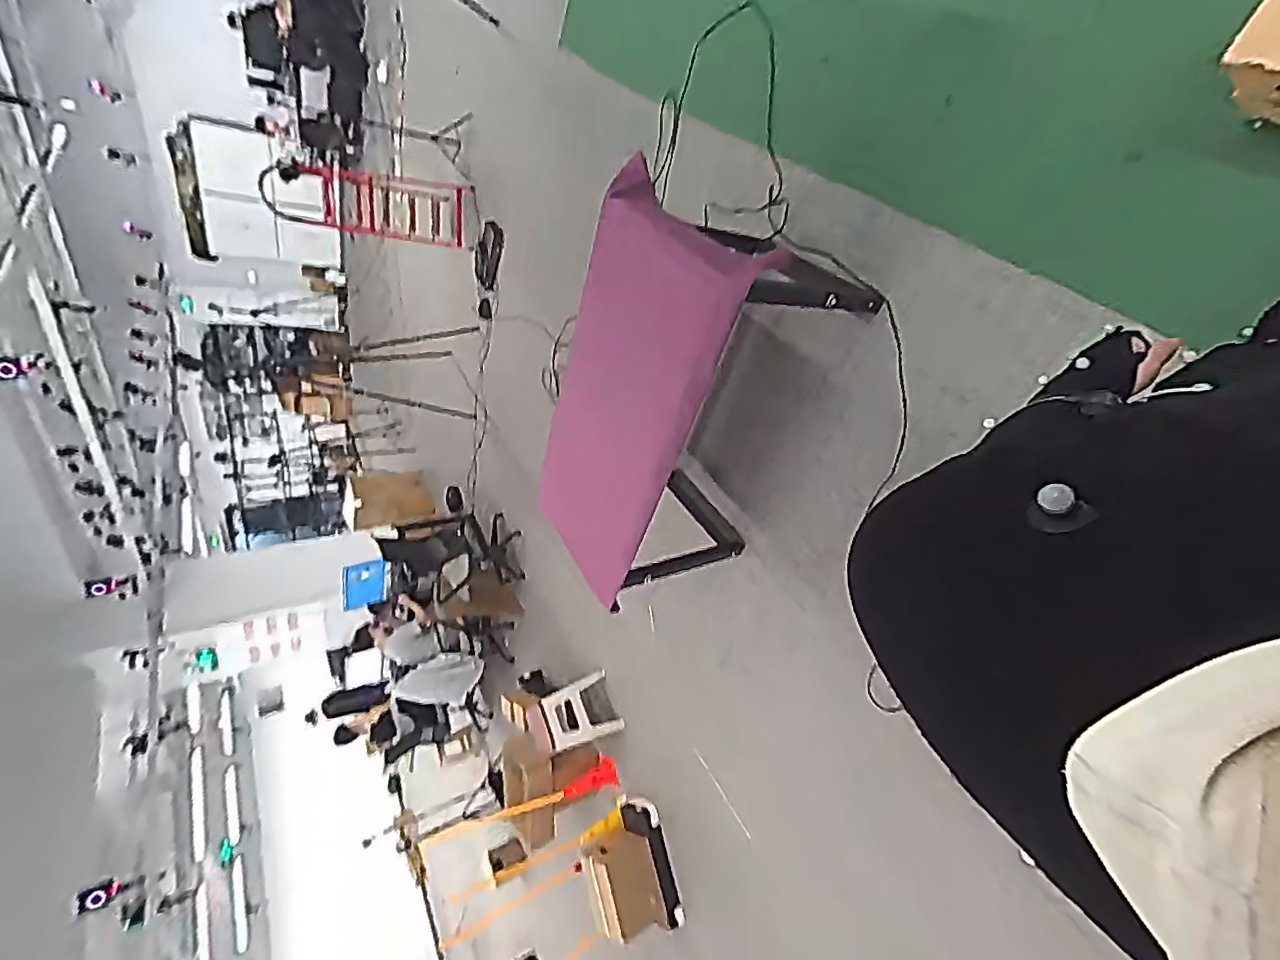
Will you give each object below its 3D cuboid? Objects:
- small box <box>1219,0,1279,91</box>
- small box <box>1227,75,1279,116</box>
[{"bbox_3d":[1.072,-0.725,0.835,0.168,0.176,0.179,49,134,37],"label":"small box"},{"bbox_3d":[1.199,-0.742,0.935,0.168,0.176,0.179,50,134,36],"label":"small box"}]
